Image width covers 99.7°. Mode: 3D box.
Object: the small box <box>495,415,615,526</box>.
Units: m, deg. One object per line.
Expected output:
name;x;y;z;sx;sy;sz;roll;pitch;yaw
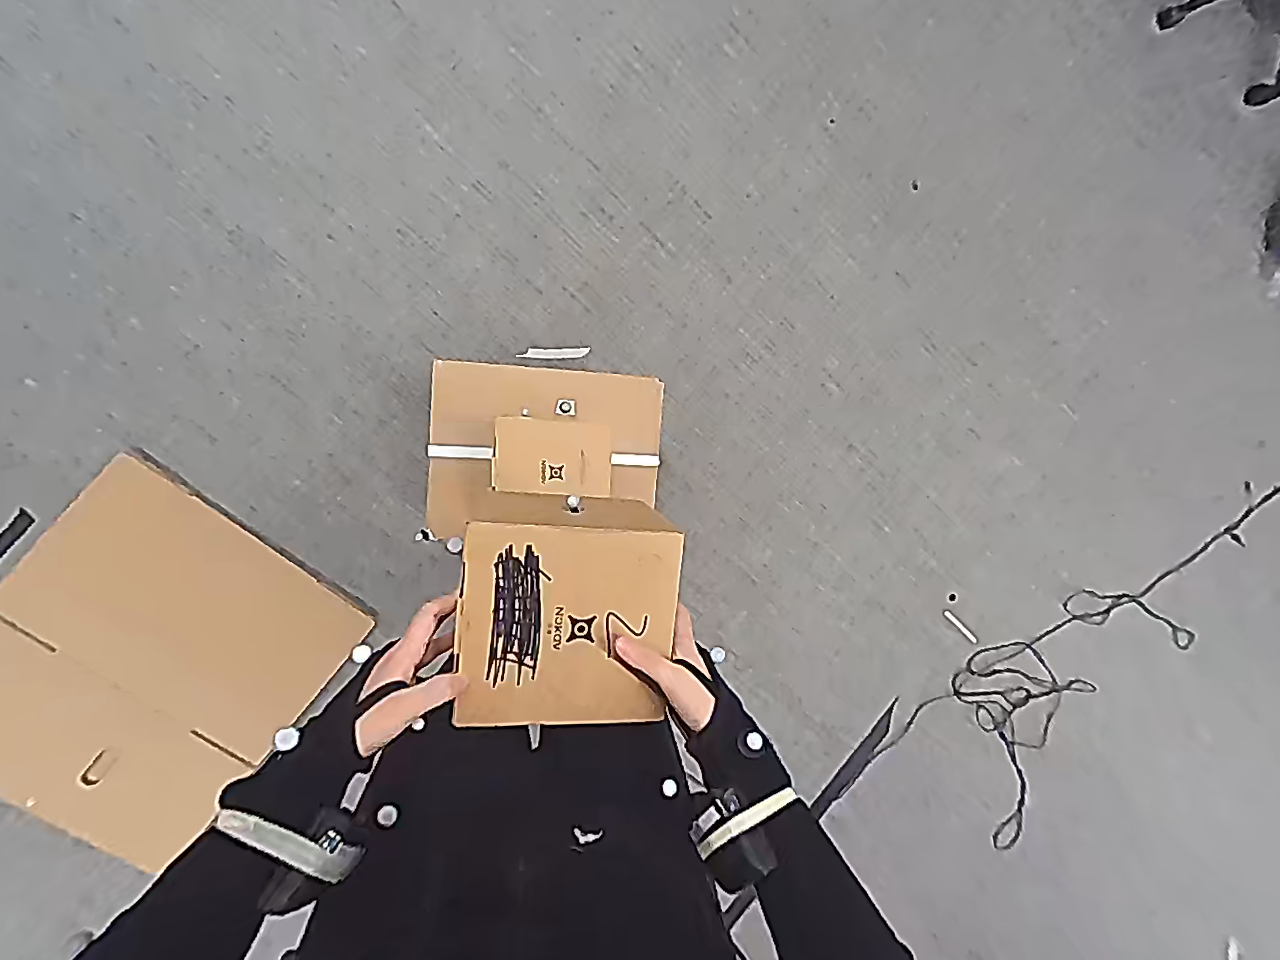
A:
small box;-0.141;-0.018;0.883;0.179;0.176;0.168;0;95;-12
